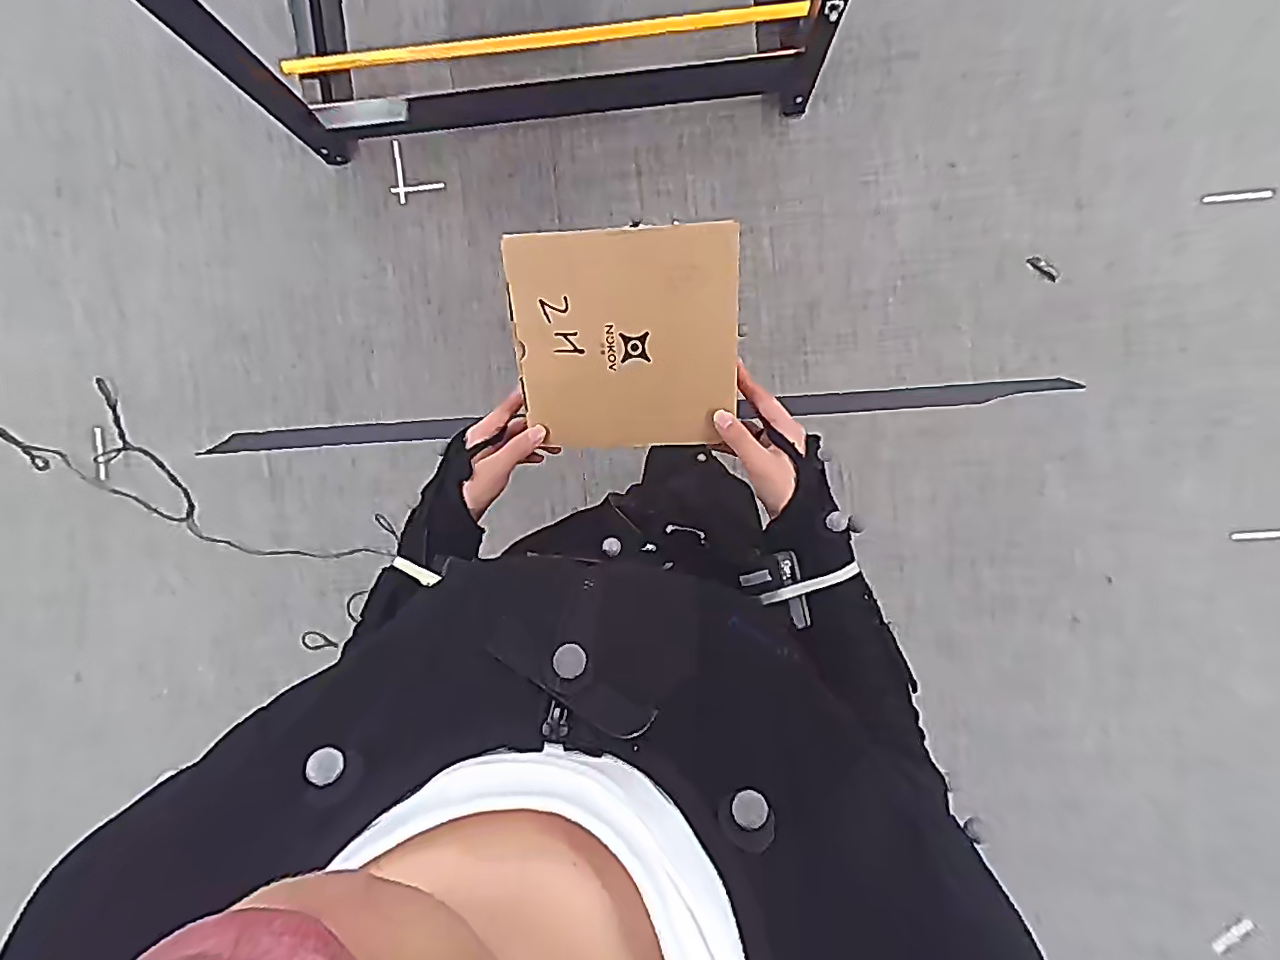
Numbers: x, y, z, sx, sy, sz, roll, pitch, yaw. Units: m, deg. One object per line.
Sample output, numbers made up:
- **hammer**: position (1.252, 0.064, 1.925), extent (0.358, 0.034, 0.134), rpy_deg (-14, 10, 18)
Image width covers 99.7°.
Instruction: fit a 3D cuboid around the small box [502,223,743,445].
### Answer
- **small box**: position (-0.004, -0.138, 0.487), extent (0.179, 0.176, 0.168), rpy_deg (0, 114, 7)
